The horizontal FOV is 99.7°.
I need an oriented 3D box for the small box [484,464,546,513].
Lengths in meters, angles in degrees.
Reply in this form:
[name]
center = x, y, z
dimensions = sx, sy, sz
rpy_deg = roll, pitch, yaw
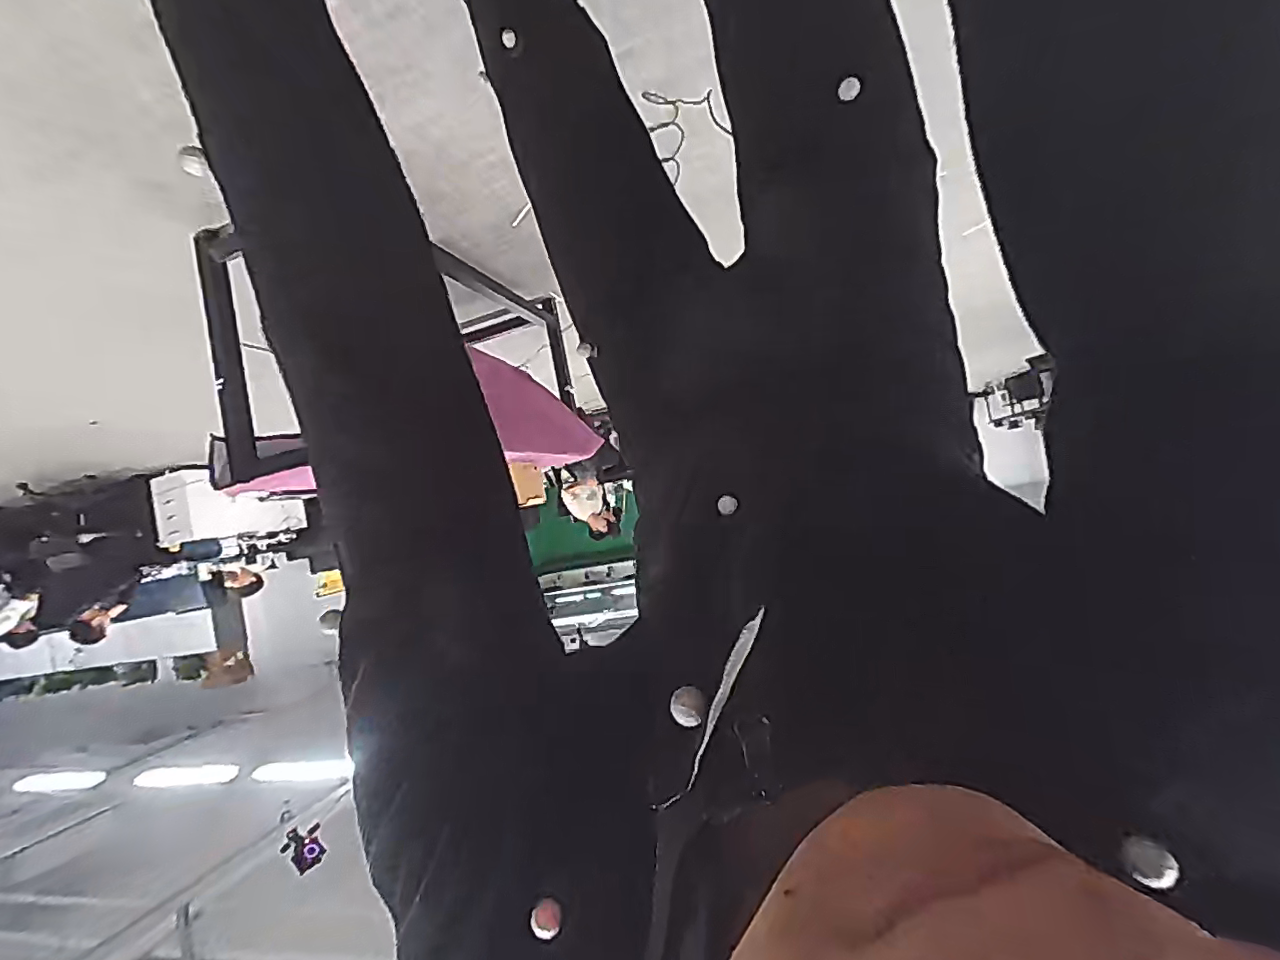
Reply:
[small box]
center = -0.512, 0.029, 2.204
dimensions = 0.179, 0.176, 0.168
rpy_deg = -11, 177, 26
